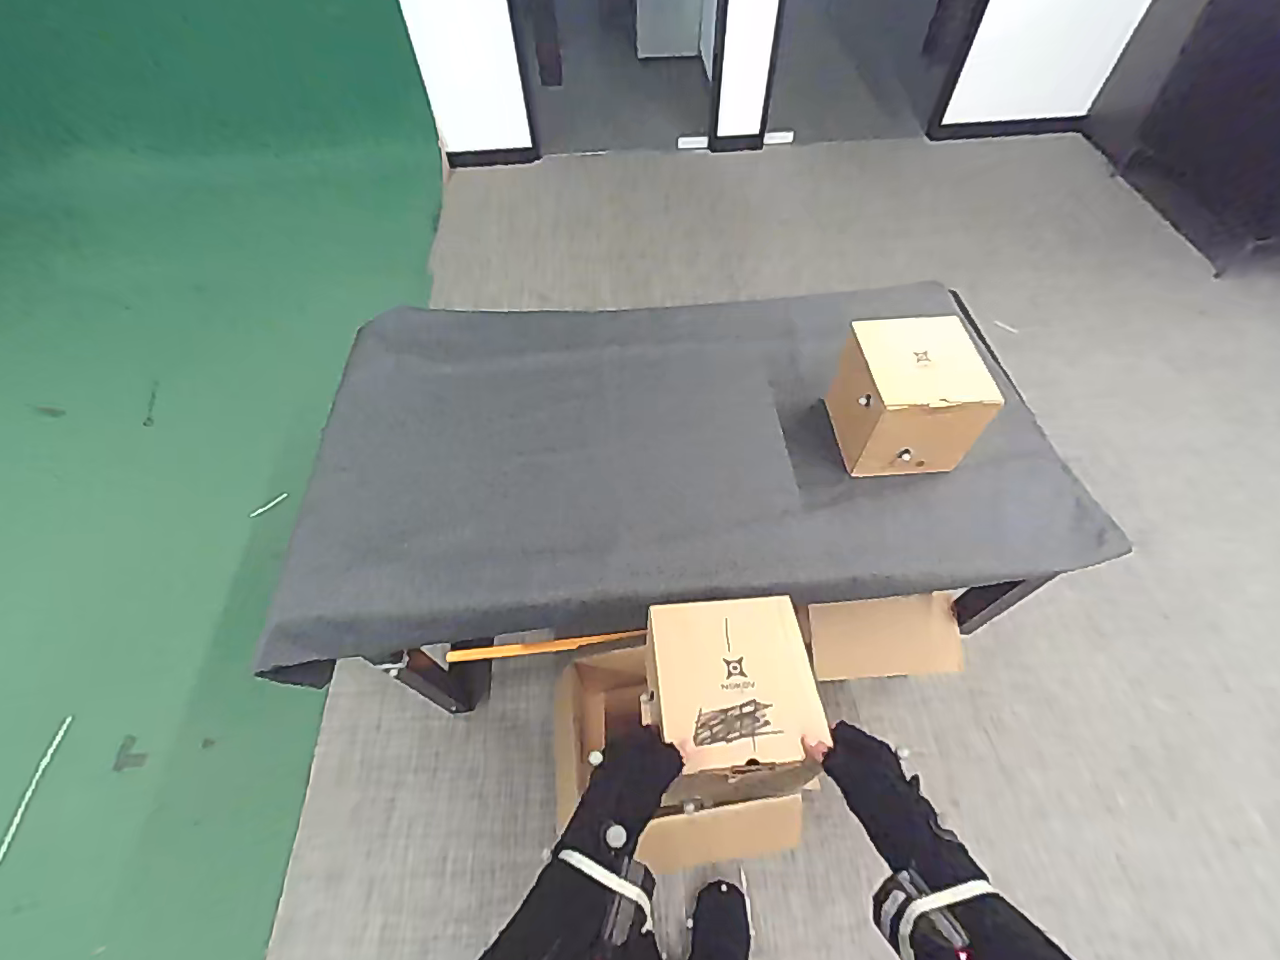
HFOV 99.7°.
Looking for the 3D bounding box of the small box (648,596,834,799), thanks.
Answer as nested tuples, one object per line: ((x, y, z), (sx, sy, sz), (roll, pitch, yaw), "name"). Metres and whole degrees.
((0.099, 0.254, 0.622), (0.168, 0.176, 0.179), (-3, 50, -4), "small box")

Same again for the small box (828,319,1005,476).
((0.409, -0.125, 0.841), (0.168, 0.176, 0.179), (-3, 56, -1), "small box")
